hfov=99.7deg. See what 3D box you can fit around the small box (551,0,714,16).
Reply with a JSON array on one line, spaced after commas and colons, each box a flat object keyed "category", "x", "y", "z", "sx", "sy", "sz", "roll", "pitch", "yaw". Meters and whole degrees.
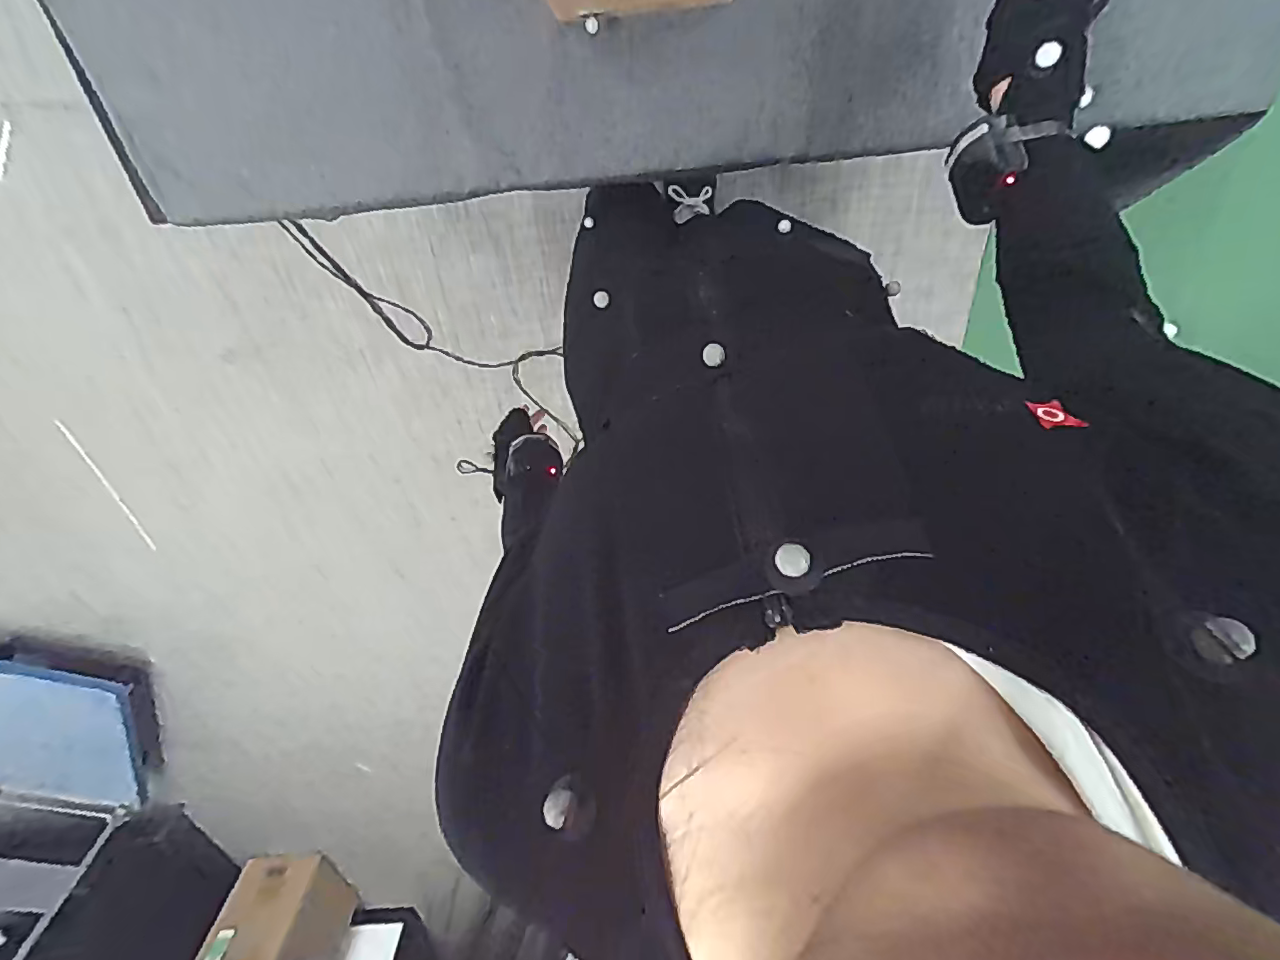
[{"category": "small box", "x": -0.006, "y": -0.480, "z": 0.408, "sx": 0.168, "sy": 0.176, "sz": 0.179, "roll": -5, "pitch": 121, "yaw": 3}]
